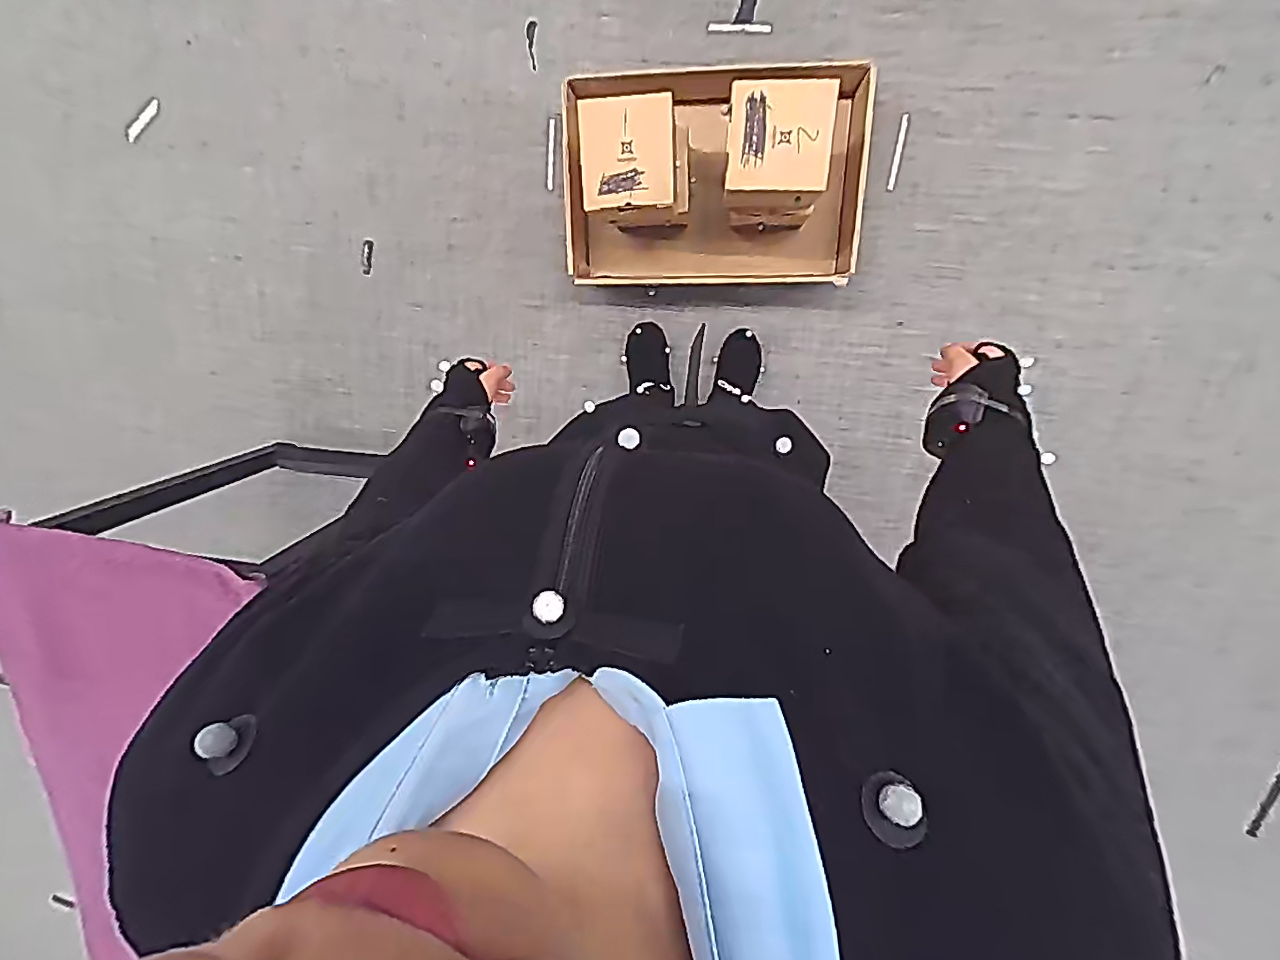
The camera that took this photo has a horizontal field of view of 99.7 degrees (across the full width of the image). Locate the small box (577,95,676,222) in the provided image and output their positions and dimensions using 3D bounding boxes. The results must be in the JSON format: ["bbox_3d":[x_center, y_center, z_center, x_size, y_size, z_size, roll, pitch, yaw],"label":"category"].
[{"bbox_3d":[-0.017,-0.595,1.024,0.168,0.176,0.179,0,107,6],"label":"small box"}]

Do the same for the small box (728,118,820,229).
[{"bbox_3d":[0.276,-0.641,1.149,0.168,0.176,0.179,3,108,8],"label":"small box"}]

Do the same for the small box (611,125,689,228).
[{"bbox_3d":[0.018,-0.651,1.176,0.179,0.176,0.168,0,107,6],"label":"small box"}]
